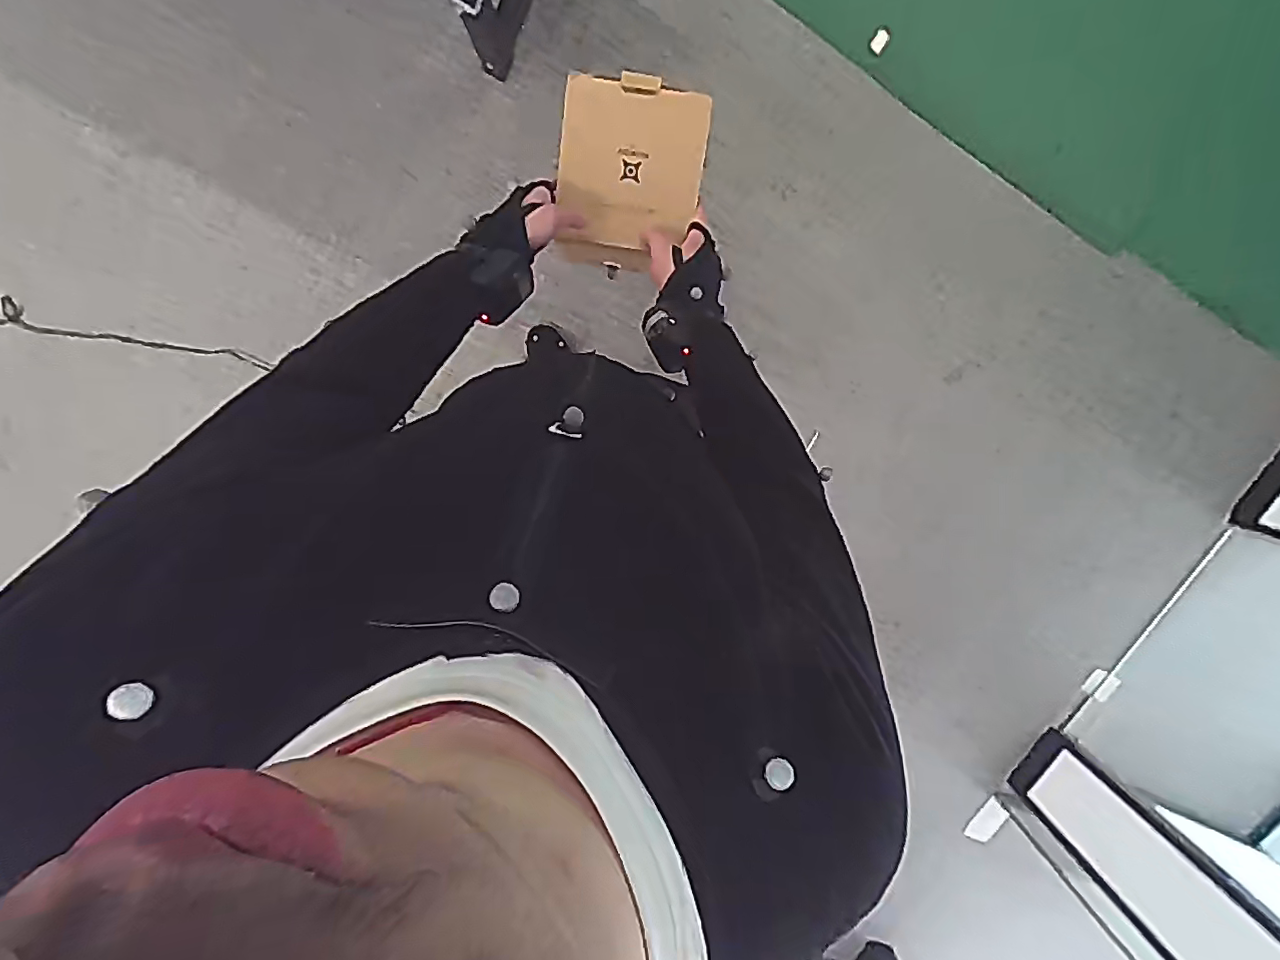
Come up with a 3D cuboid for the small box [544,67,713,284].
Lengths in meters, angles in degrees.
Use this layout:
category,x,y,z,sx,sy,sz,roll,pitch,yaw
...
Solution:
category,x,y,z,sx,sy,sz,roll,pitch,yaw
small box,-0.017,-0.363,0.680,0.168,0.176,0.179,10,101,-3
